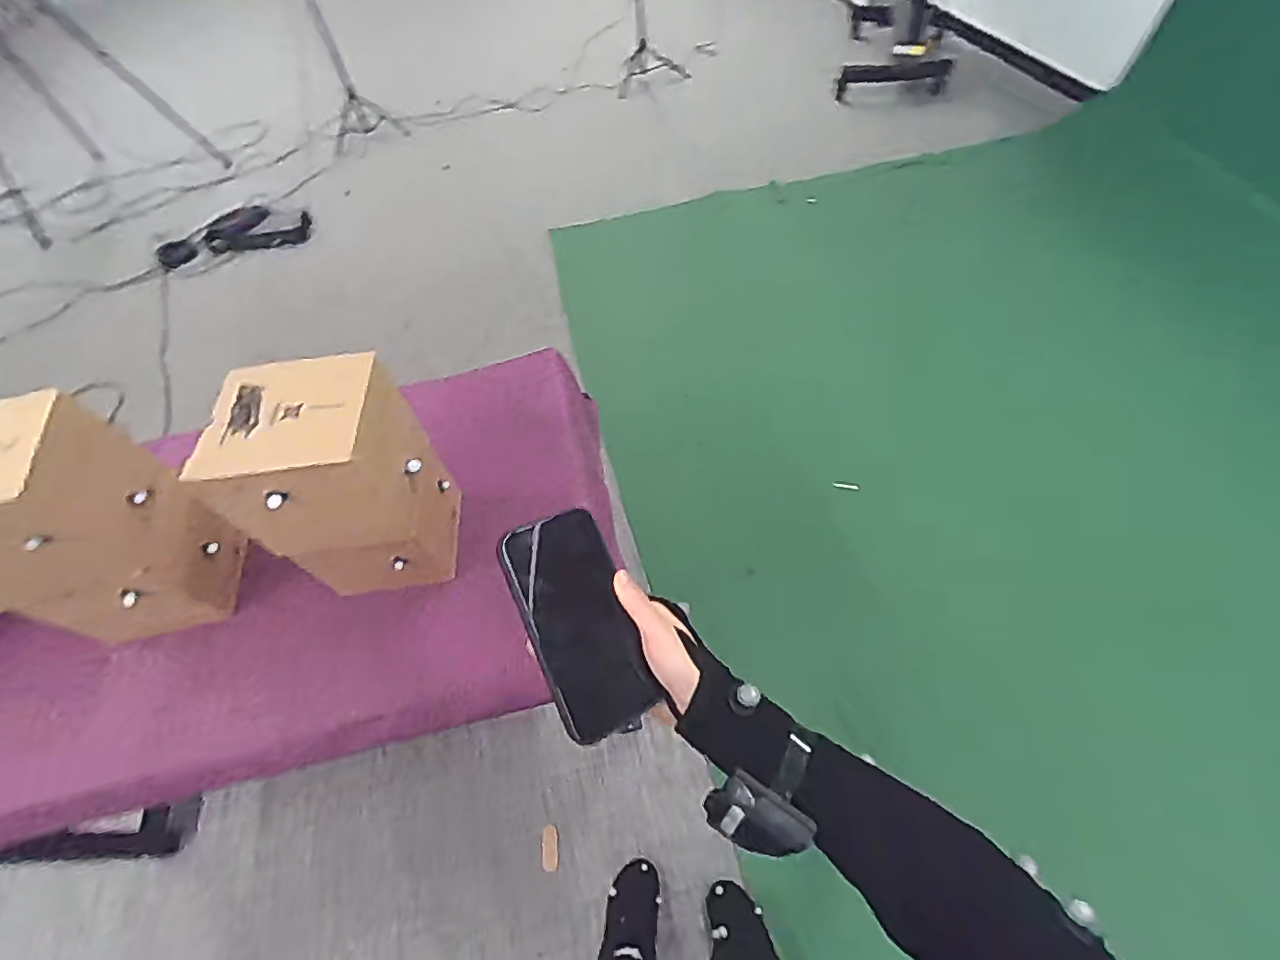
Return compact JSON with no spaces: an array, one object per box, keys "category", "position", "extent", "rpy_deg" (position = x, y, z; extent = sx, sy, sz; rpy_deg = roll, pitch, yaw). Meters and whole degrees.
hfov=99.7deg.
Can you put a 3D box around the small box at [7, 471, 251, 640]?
[{"category":"small box","position":[-0.714,0.114,0.786],"extent":[0.179,0.176,0.168],"rpy_deg":[-13,55,-4]}]

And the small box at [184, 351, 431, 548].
[{"category":"small box","position":[-0.380,-0.030,0.658],"extent":[0.179,0.176,0.168],"rpy_deg":[-8,55,-1]}]

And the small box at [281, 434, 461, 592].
[{"category":"small box","position":[-0.379,0.052,0.801],"extent":[0.179,0.176,0.168],"rpy_deg":[-8,55,0]}]
